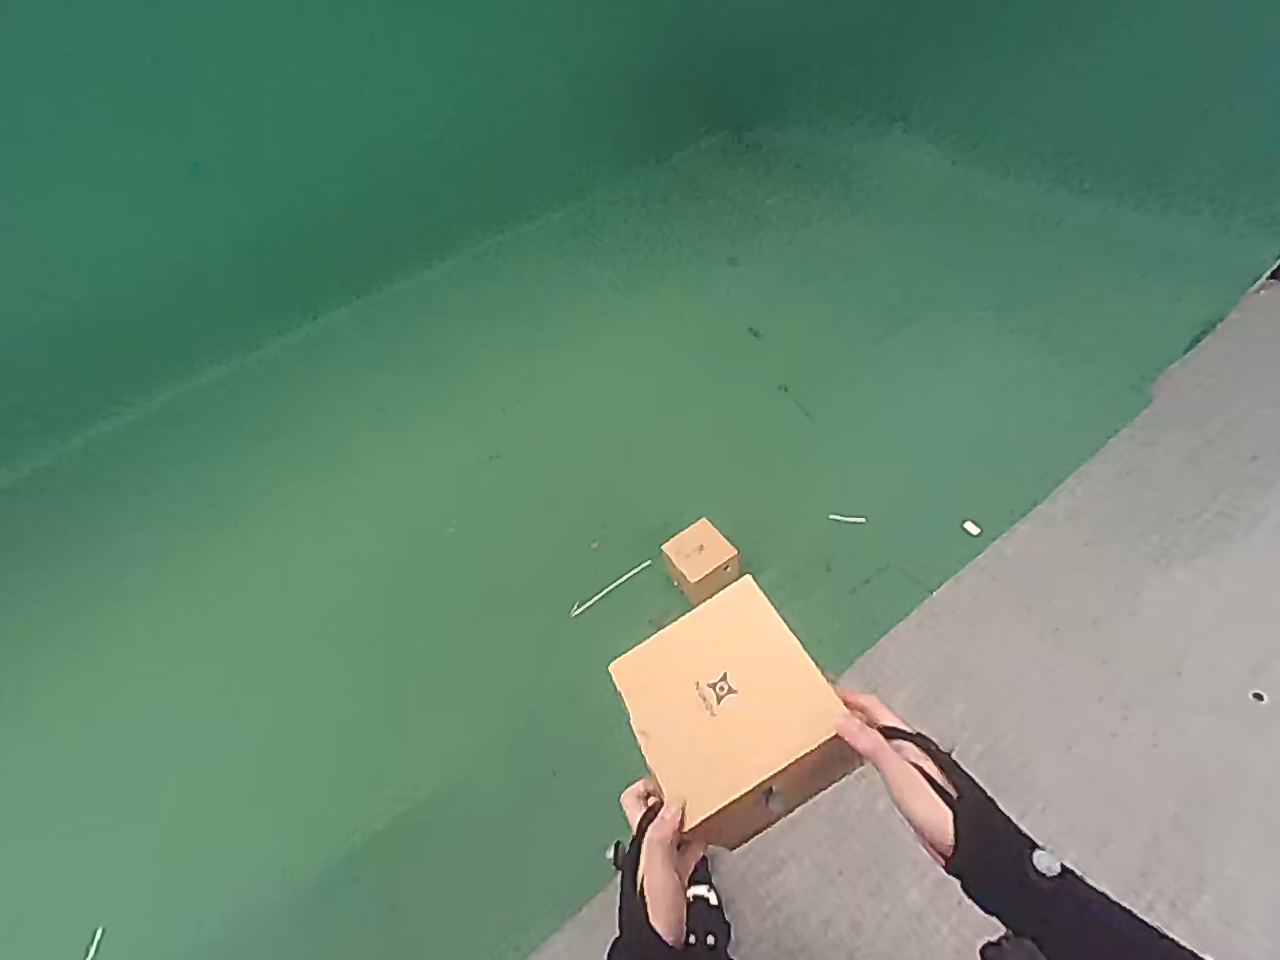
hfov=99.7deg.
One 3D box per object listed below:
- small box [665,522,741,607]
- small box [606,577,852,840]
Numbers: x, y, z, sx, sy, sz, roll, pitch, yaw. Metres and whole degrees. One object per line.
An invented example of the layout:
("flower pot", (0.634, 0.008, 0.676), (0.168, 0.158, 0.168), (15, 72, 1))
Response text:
("small box", (0.196, 0.273, 1.702), (0.179, 0.176, 0.168), (-31, 53, -14))
("small box", (0.097, 0.238, 0.555), (0.179, 0.176, 0.168), (-33, 46, 2))
